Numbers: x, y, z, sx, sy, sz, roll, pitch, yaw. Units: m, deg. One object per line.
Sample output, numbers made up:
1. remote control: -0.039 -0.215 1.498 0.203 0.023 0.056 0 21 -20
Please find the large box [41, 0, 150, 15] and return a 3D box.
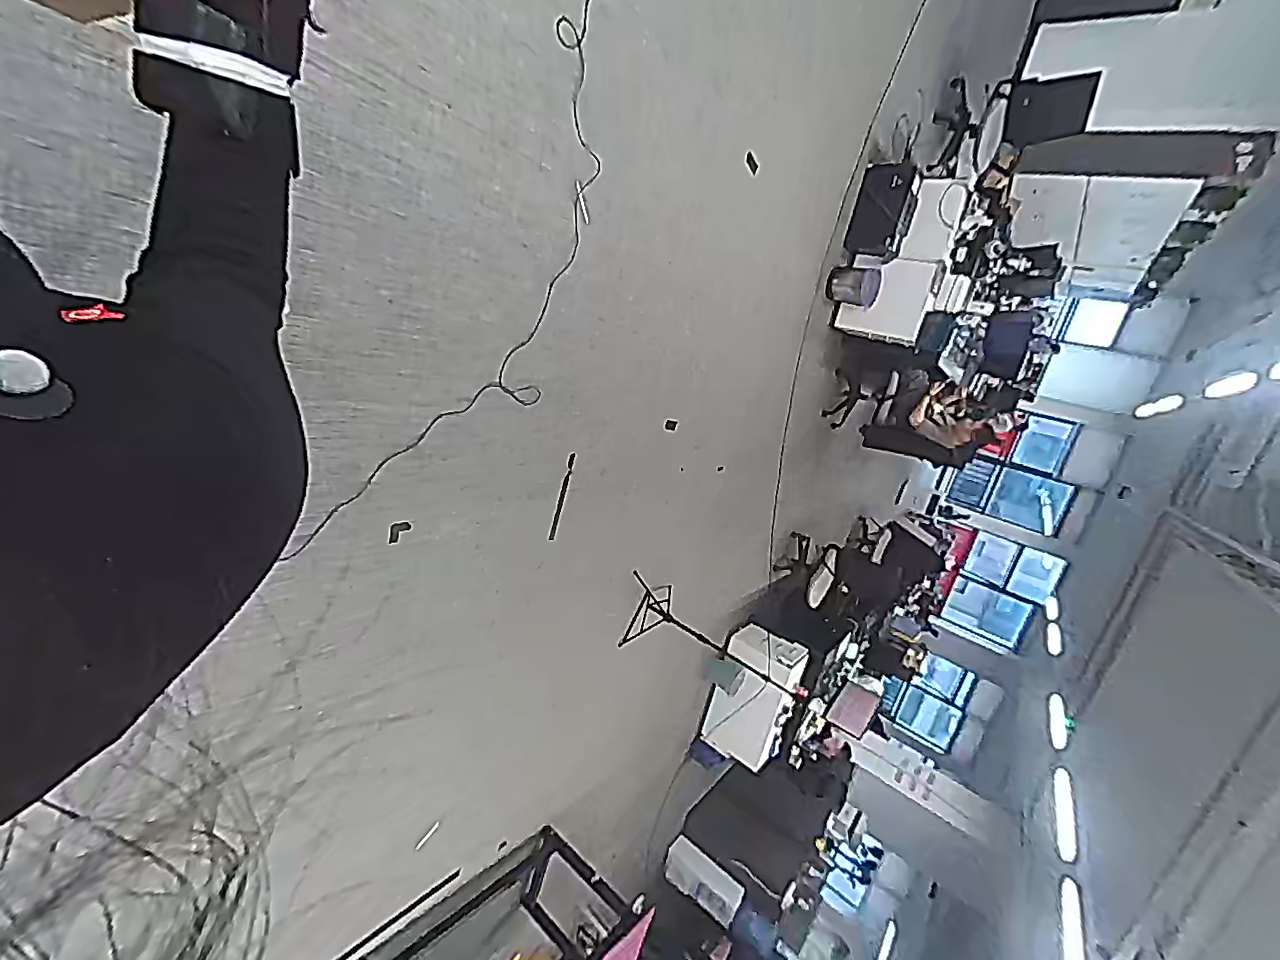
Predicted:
1. large box: -0.448 -0.482 0.205 0.408 0.320 0.320 -3 116 -56
